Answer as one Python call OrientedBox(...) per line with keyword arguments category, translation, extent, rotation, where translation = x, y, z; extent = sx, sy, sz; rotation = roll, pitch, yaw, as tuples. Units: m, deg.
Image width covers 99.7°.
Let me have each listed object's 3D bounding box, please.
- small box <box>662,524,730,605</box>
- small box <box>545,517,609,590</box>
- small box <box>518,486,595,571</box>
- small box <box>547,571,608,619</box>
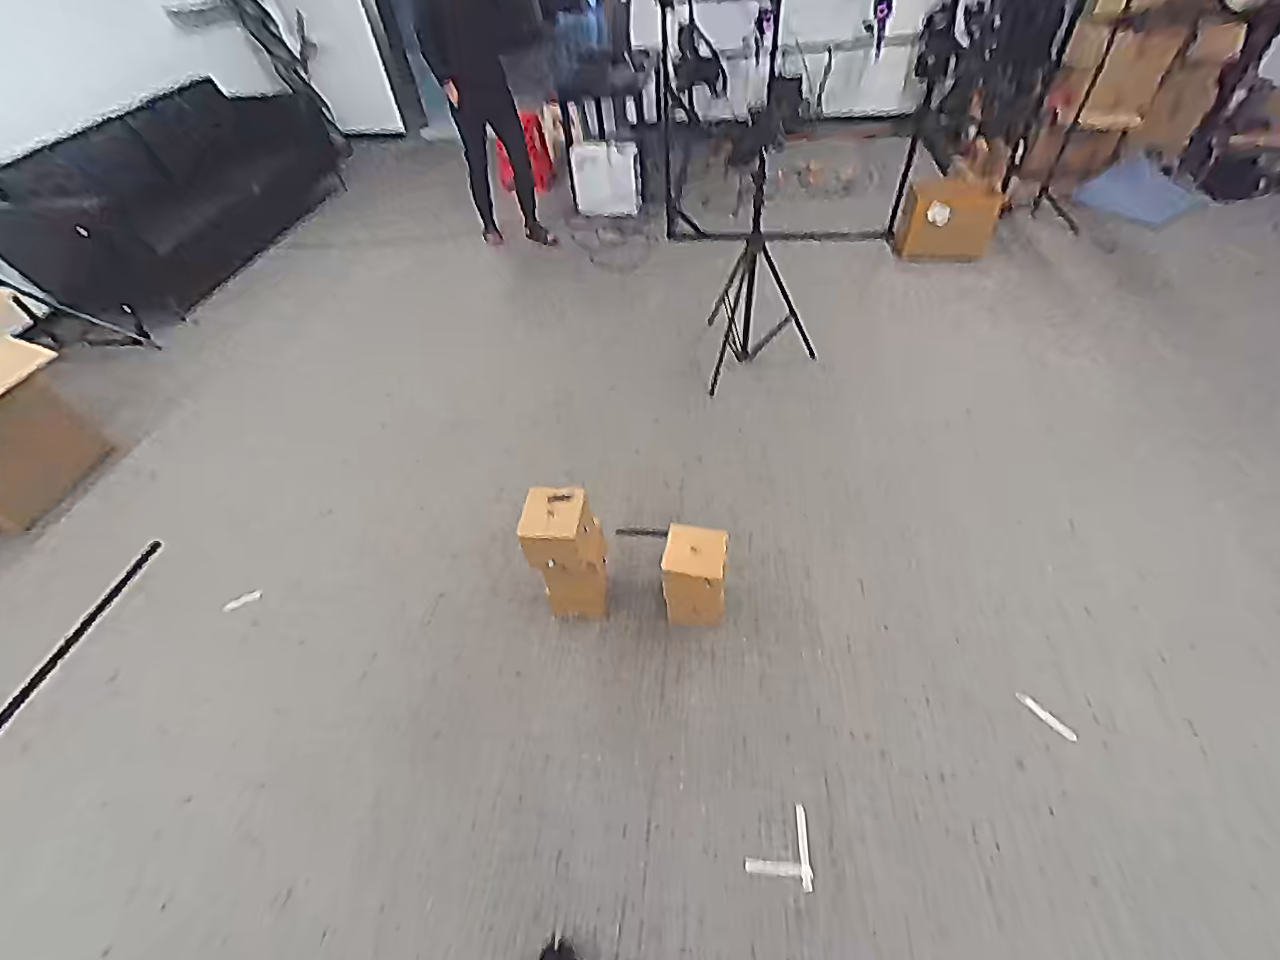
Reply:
OrientedBox(category="small box", translation=(0.170, 0.255, 1.621), extent=(0.179, 0.176, 0.168), rotation=(7, 49, 11))
OrientedBox(category="small box", translation=(-0.199, 0.231, 1.677), extent=(0.179, 0.176, 0.168), rotation=(-1, 48, 5))
OrientedBox(category="small box", translation=(-0.229, 0.139, 1.541), extent=(0.168, 0.176, 0.179), rotation=(1, 49, 8))
OrientedBox(category="small box", translation=(-0.200, 0.342, 1.797), extent=(0.168, 0.176, 0.179), rotation=(0, 48, 6))
